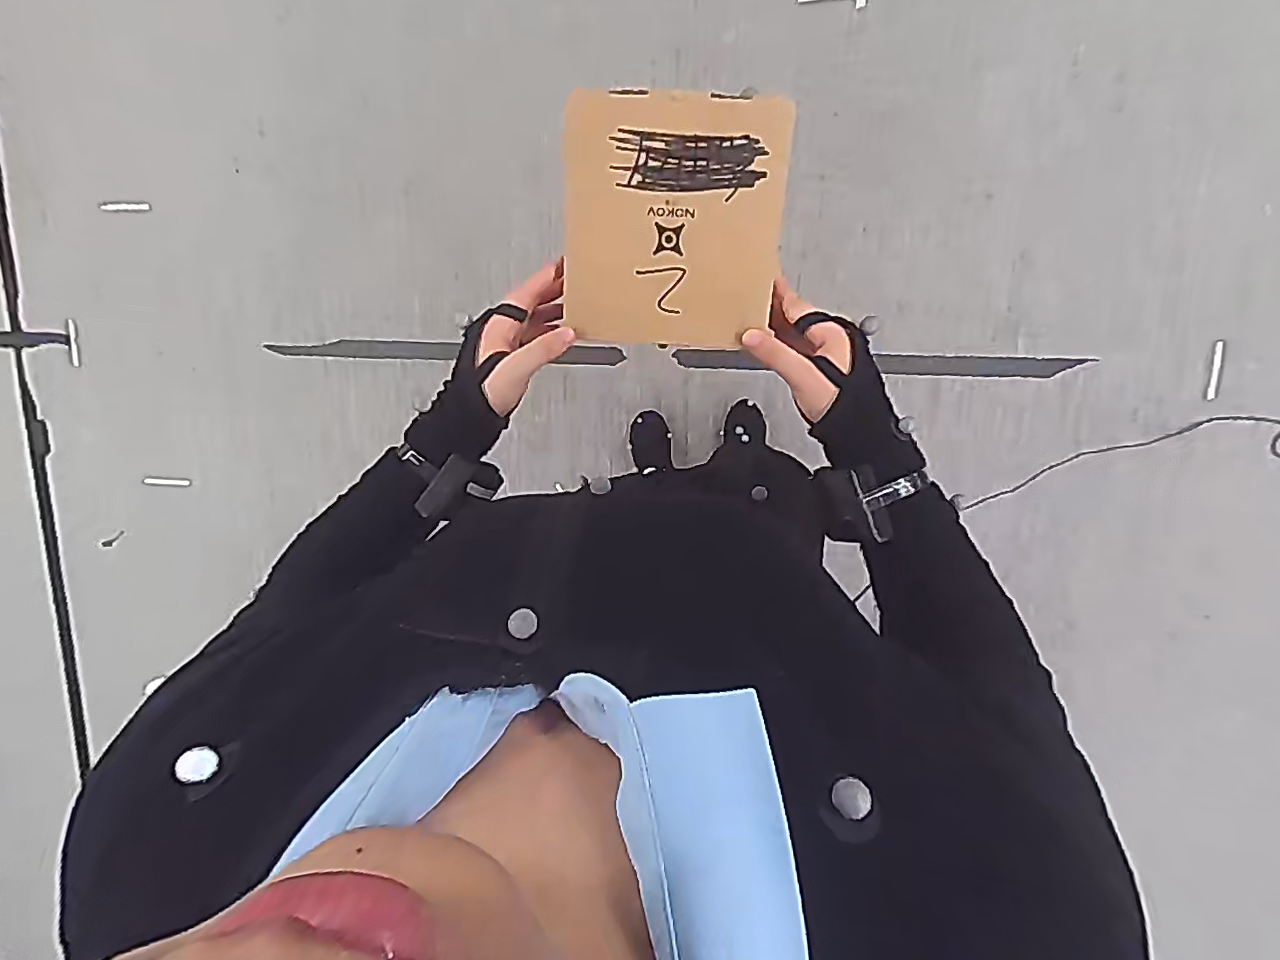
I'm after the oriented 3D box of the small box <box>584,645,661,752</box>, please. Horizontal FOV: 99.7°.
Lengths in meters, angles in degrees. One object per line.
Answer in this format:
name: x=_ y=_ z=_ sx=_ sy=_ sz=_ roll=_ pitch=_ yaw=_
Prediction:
small box: x=-0.036 y=0.520 z=1.301 sx=0.168 sy=0.176 sz=0.179 roll=0 pitch=98 yaw=6
